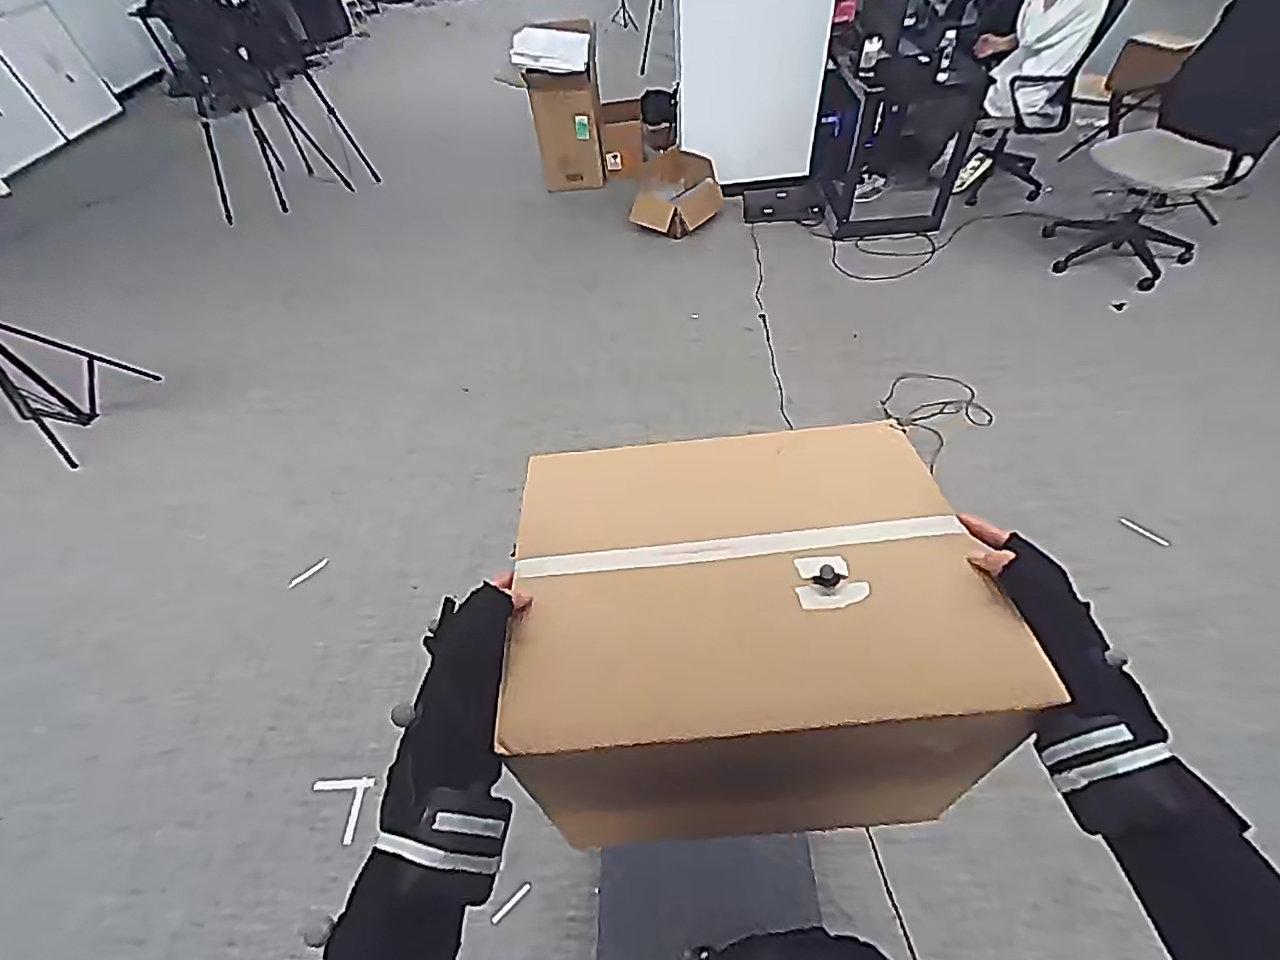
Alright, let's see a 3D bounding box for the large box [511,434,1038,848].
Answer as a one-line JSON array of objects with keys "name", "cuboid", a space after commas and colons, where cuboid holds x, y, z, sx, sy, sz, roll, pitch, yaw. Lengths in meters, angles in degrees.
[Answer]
[{"name": "large box", "cuboid": [0.100, 0.180, 0.607, 0.408, 0.320, 0.320, -6, 45, 1]}]
